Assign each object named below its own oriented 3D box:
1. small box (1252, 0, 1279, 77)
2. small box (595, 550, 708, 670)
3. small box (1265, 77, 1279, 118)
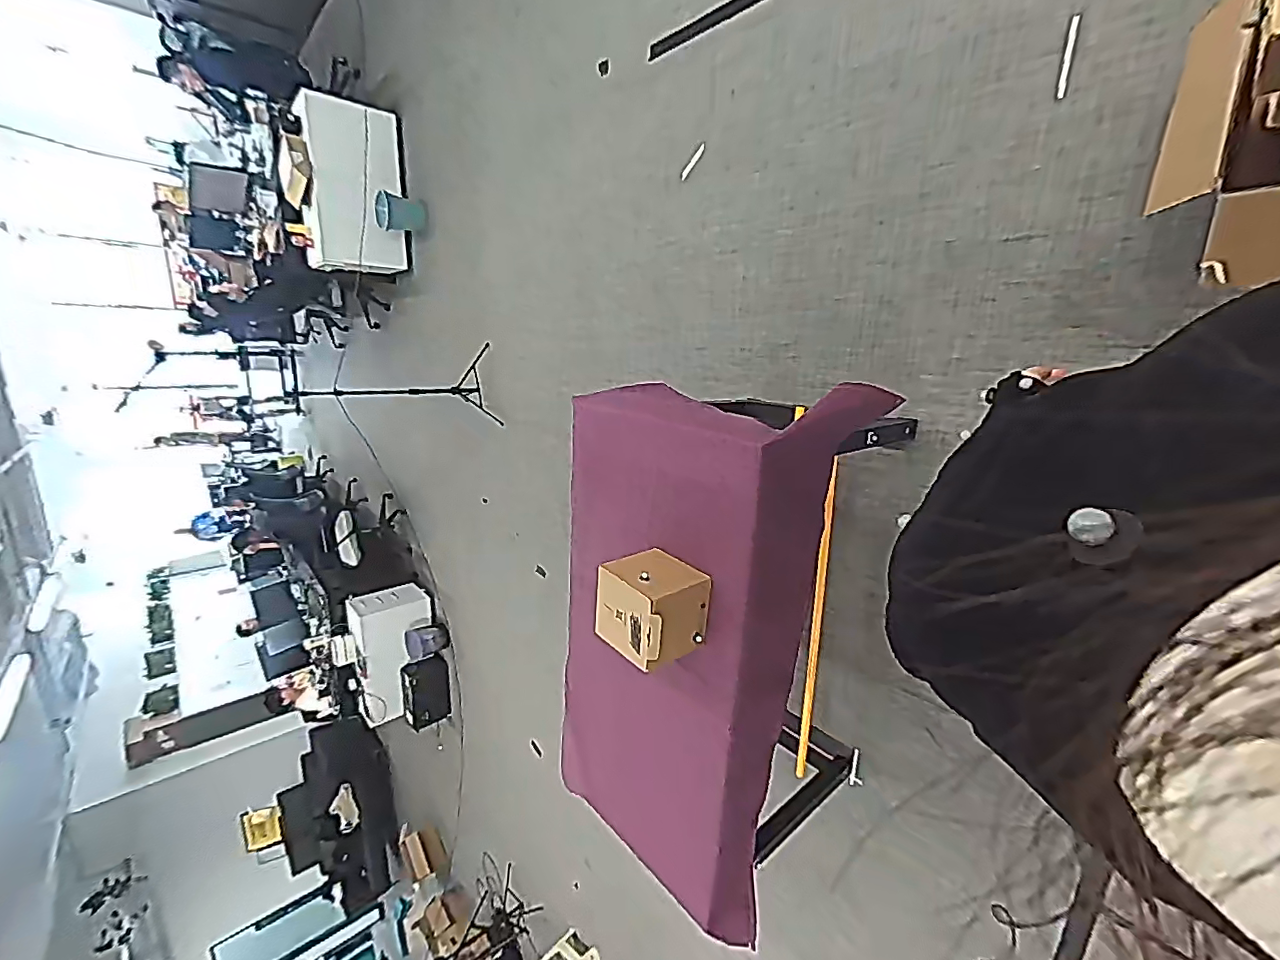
[{"bbox_3d":[0.604,-0.445,0.412,0.168,0.176,0.179,7,107,44],"label":"small box"},{"bbox_3d":[0.024,0.264,1.151,0.179,0.176,0.168,23,115,46],"label":"small box"},{"bbox_3d":[0.732,-0.476,0.509,0.179,0.176,0.168,6,107,45],"label":"small box"}]
